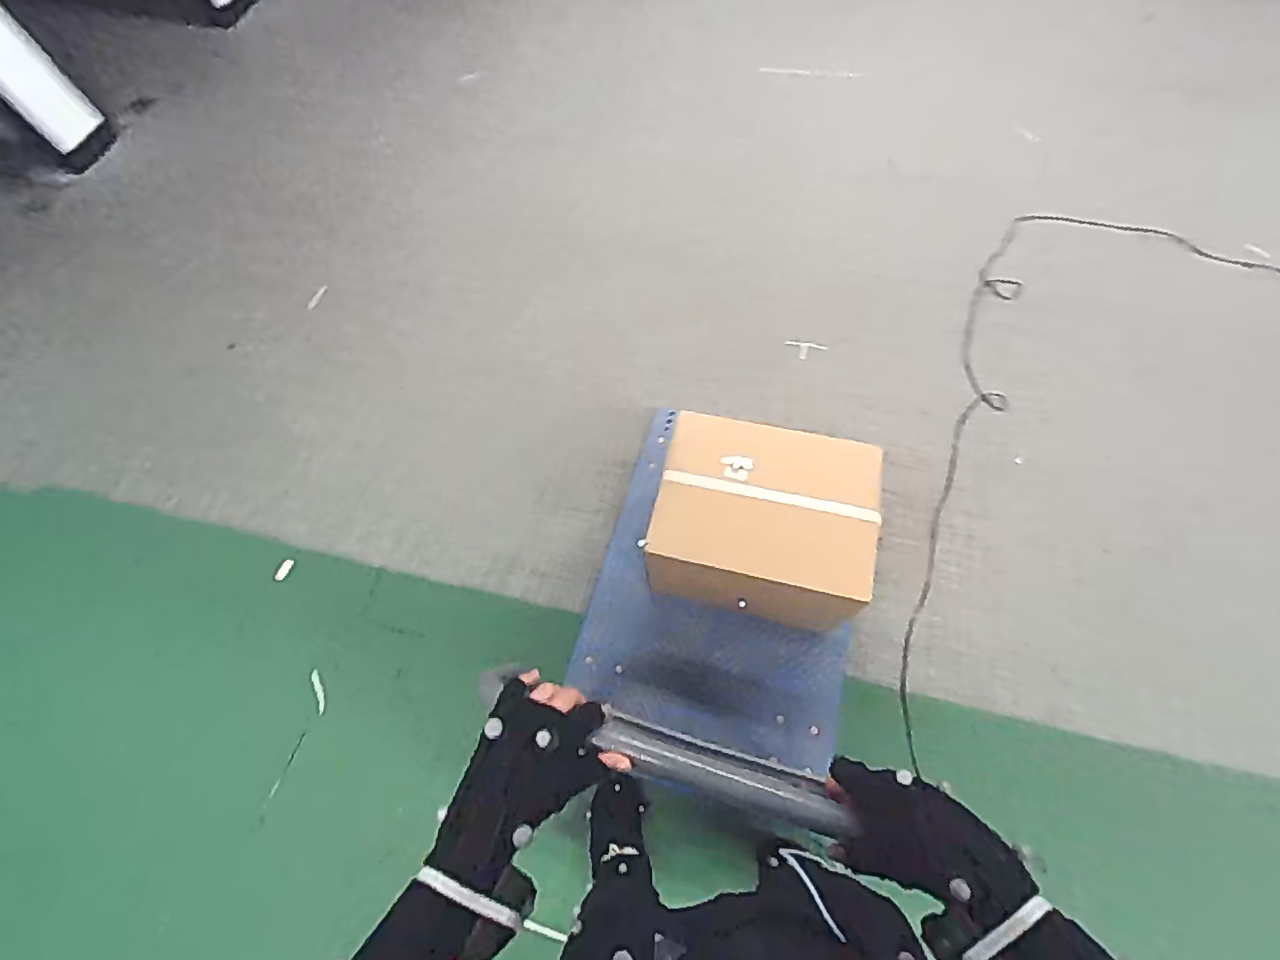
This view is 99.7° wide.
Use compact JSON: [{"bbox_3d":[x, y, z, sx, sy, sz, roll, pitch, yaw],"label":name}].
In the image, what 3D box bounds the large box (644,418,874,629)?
[{"bbox_3d":[0.245,0.104,1.157,0.408,0.320,0.320,11,64,10],"label":"large box"}]
